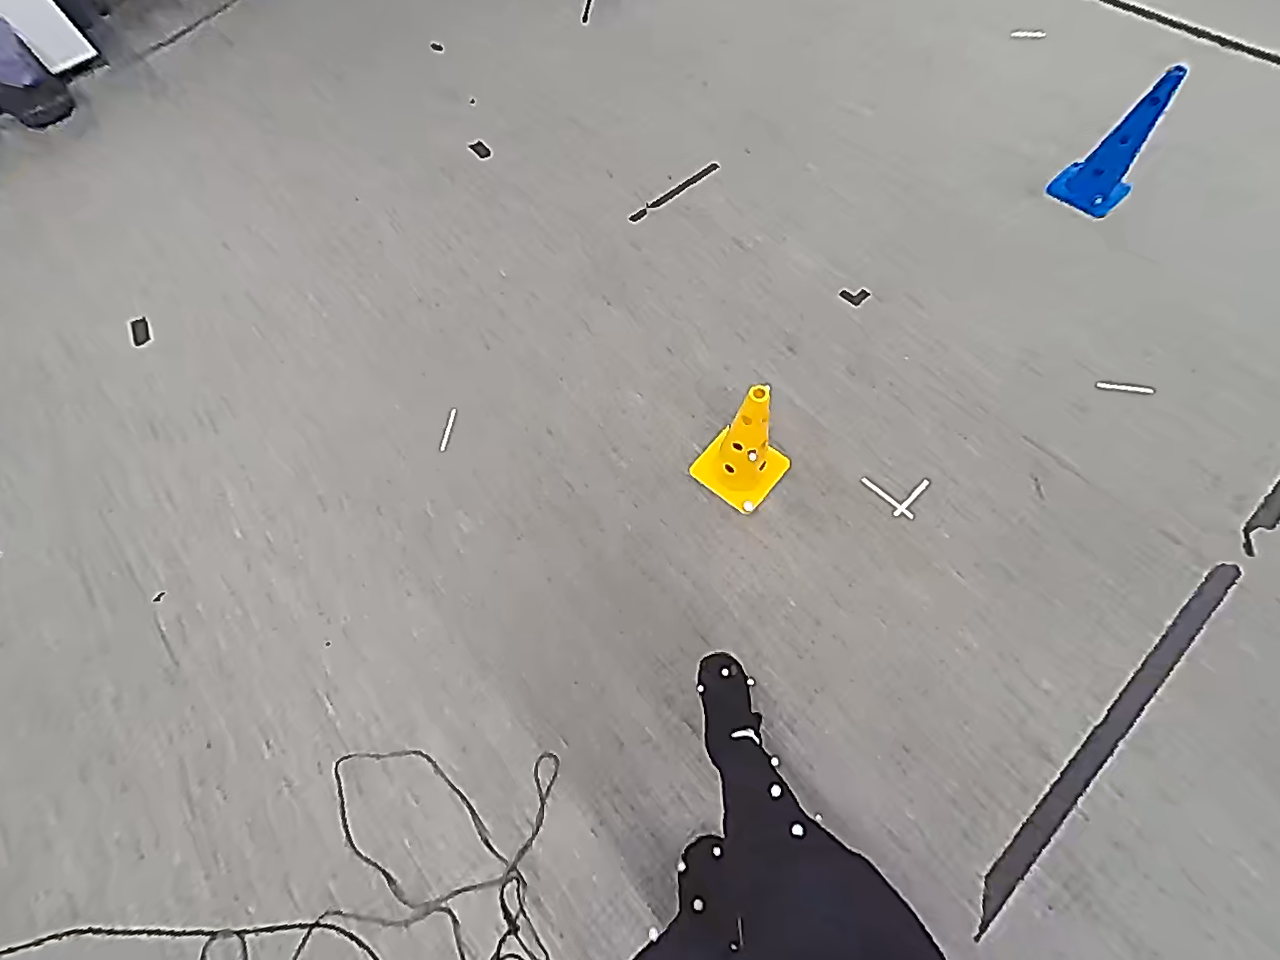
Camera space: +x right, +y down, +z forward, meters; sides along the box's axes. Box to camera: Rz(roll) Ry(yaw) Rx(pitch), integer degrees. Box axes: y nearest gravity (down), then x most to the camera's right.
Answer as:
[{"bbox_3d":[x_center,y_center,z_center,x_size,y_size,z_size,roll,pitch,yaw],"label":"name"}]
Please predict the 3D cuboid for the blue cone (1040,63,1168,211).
[{"bbox_3d":[1.427,-1.029,1.621,0.193,0.380,0.192,-40,68,-14],"label":"blue cone"}]
